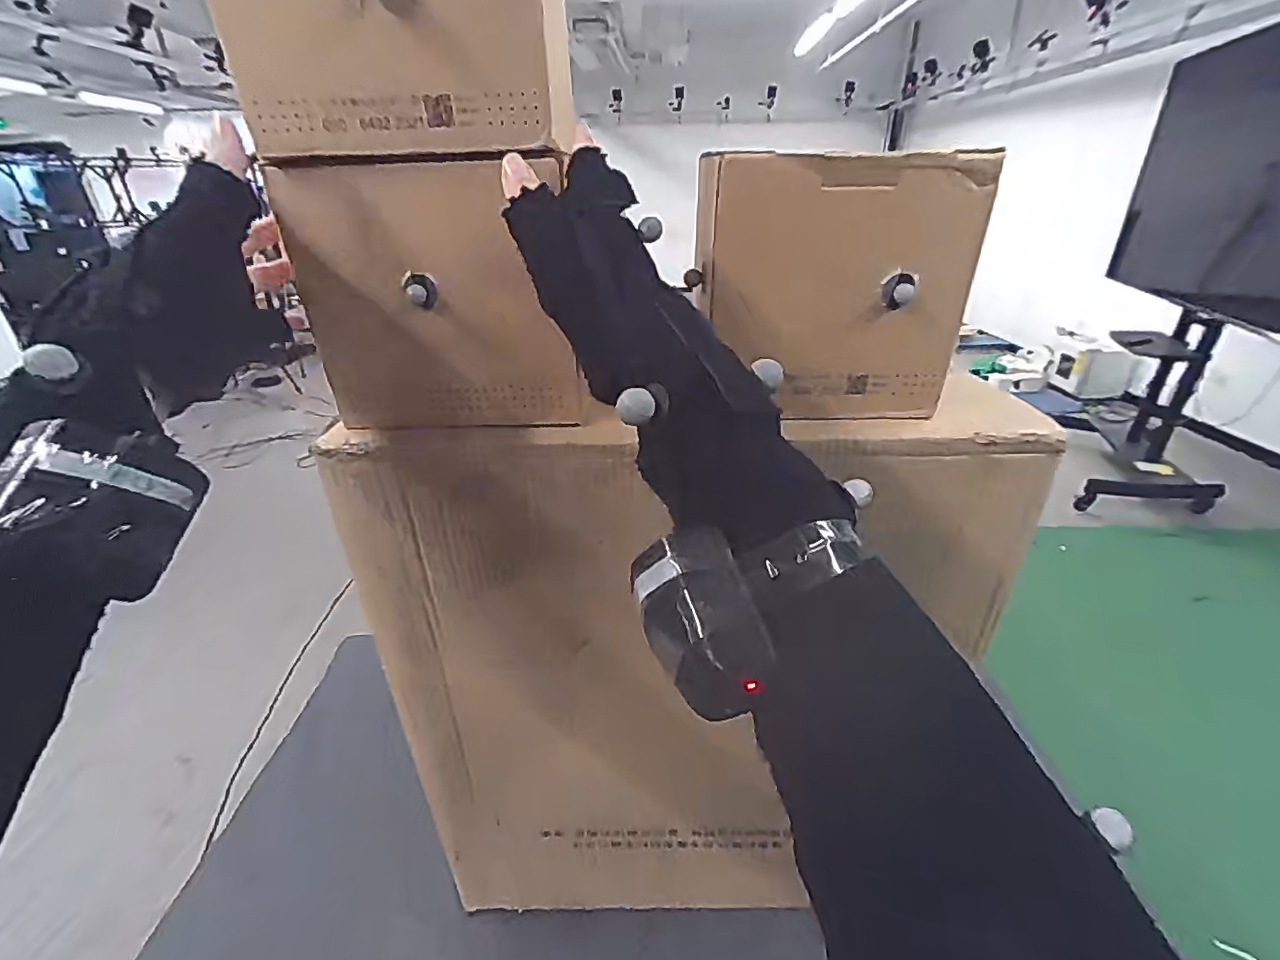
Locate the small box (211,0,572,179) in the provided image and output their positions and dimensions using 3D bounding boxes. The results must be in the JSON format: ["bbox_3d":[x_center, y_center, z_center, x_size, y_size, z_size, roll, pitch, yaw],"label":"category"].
[{"bbox_3d":[-0.134,-0.281,0.336,0.168,0.176,0.179,-2,31,-1],"label":"small box"}]

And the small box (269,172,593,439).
[{"bbox_3d":[-0.127,-0.139,0.416,0.179,0.176,0.168,-1,30,-2],"label":"small box"}]

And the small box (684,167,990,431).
[{"bbox_3d":[0.124,-0.146,0.423,0.168,0.176,0.179,1,29,0],"label":"small box"}]
